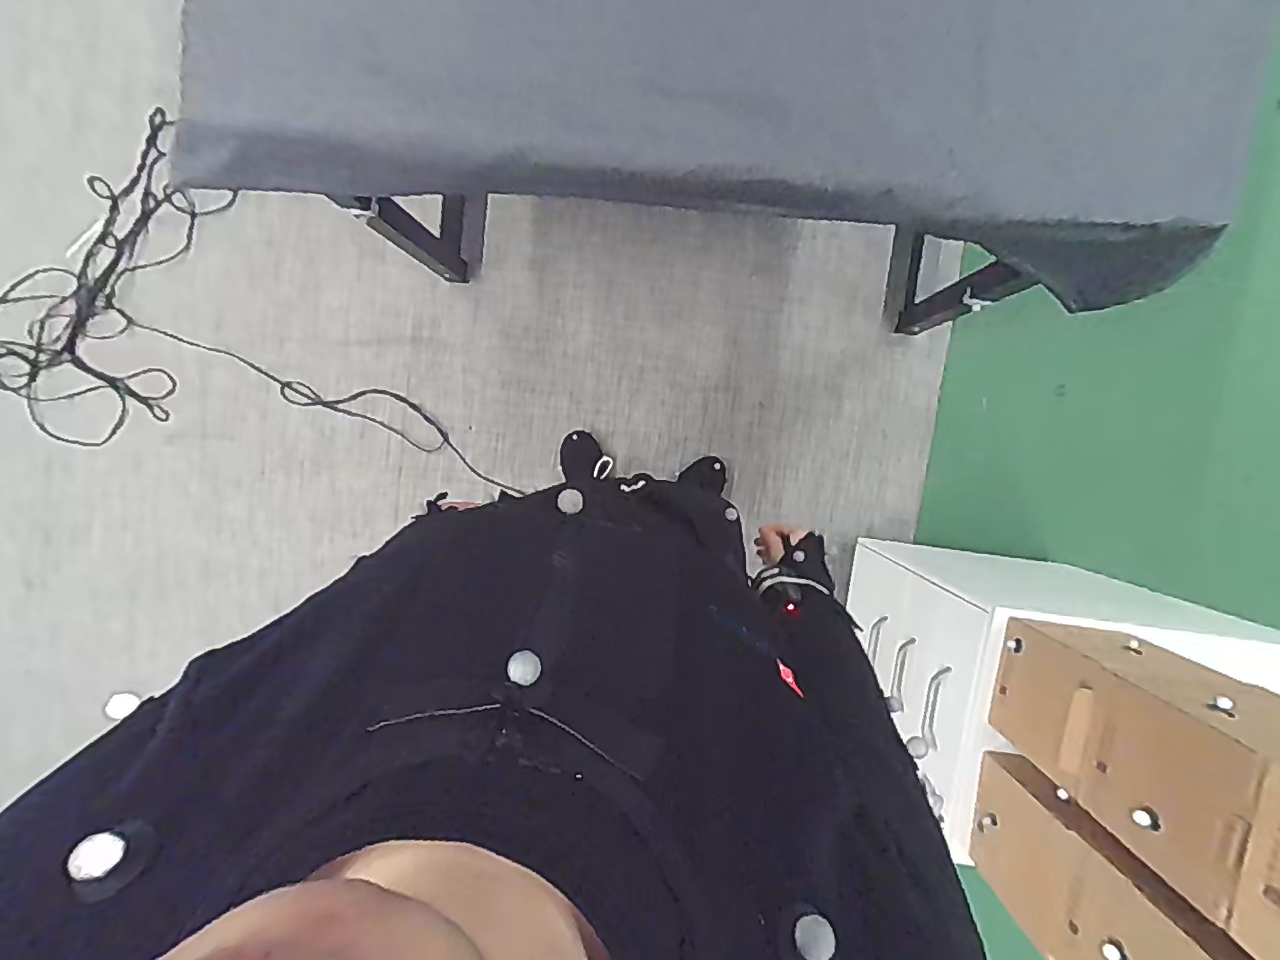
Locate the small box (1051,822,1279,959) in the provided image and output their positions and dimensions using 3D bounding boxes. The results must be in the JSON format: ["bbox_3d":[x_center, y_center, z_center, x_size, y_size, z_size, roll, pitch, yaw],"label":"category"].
[{"bbox_3d":[0.571,0.487,0.556,0.179,0.176,0.168,3,94,1],"label":"small box"}]
